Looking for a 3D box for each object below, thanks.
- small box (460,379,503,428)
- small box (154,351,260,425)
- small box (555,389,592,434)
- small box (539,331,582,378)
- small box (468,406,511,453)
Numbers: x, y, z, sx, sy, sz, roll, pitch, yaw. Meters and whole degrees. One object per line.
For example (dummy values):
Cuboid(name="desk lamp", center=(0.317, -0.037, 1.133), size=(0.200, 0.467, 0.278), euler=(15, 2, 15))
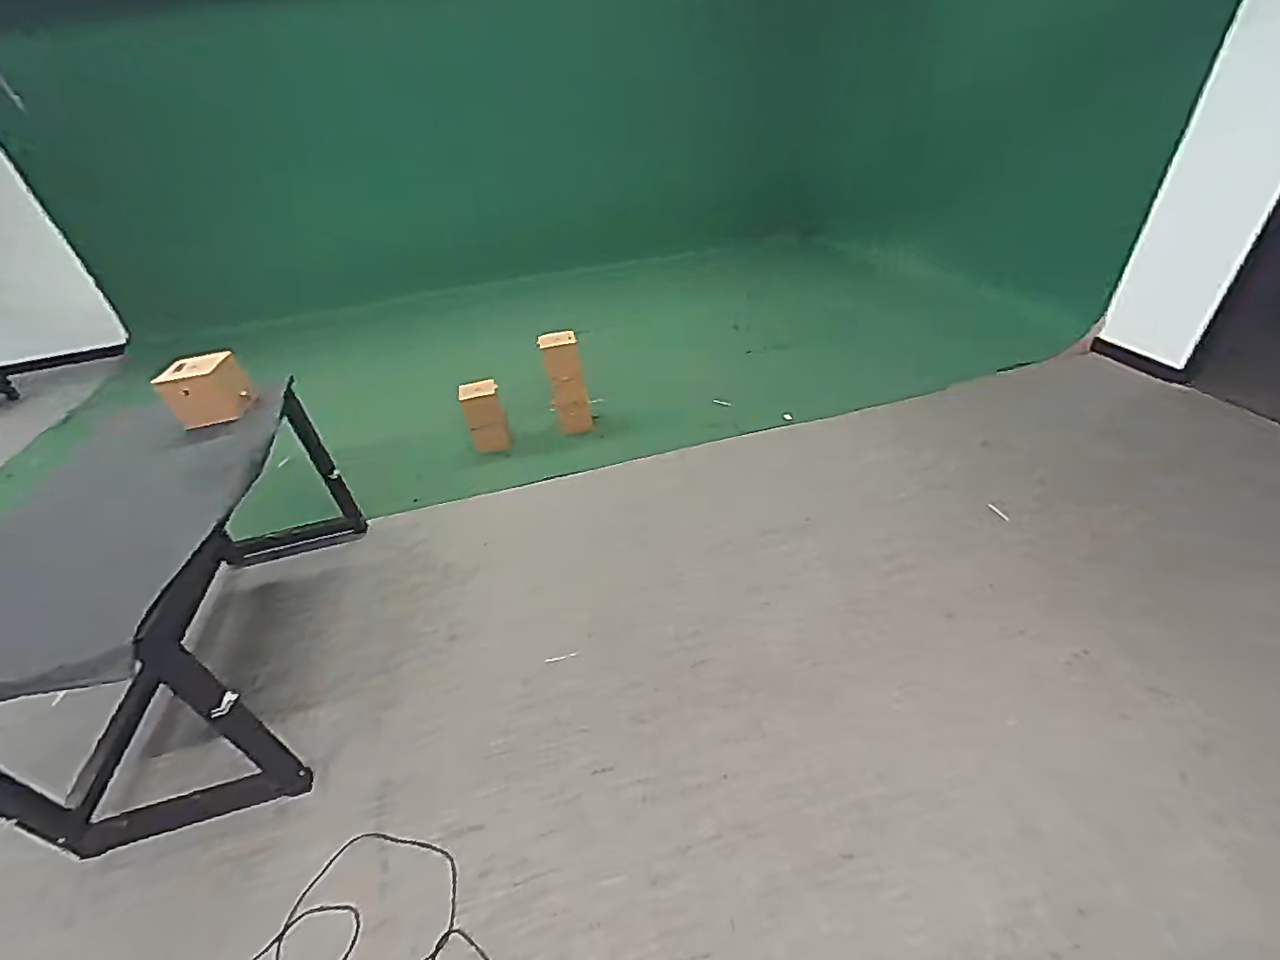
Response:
Cuboid(name="small box", center=(-0.792, -0.381, 2.709), size=(0.179, 0.176, 0.168), euler=(-15, 38, -9))
Cuboid(name="small box", center=(-1.395, -0.295, 1.755), size=(0.179, 0.176, 0.168), euler=(-11, 39, -3))
Cuboid(name="small box", center=(-0.353, -0.364, 2.887), size=(0.179, 0.176, 0.168), euler=(-11, 38, -5))
Cuboid(name="small box", center=(-0.396, -0.620, 2.686), size=(0.179, 0.176, 0.168), euler=(-12, 37, -5))
Cuboid(name="small box", center=(-0.777, -0.260, 2.817), size=(0.179, 0.176, 0.168), euler=(-10, 38, -3))
